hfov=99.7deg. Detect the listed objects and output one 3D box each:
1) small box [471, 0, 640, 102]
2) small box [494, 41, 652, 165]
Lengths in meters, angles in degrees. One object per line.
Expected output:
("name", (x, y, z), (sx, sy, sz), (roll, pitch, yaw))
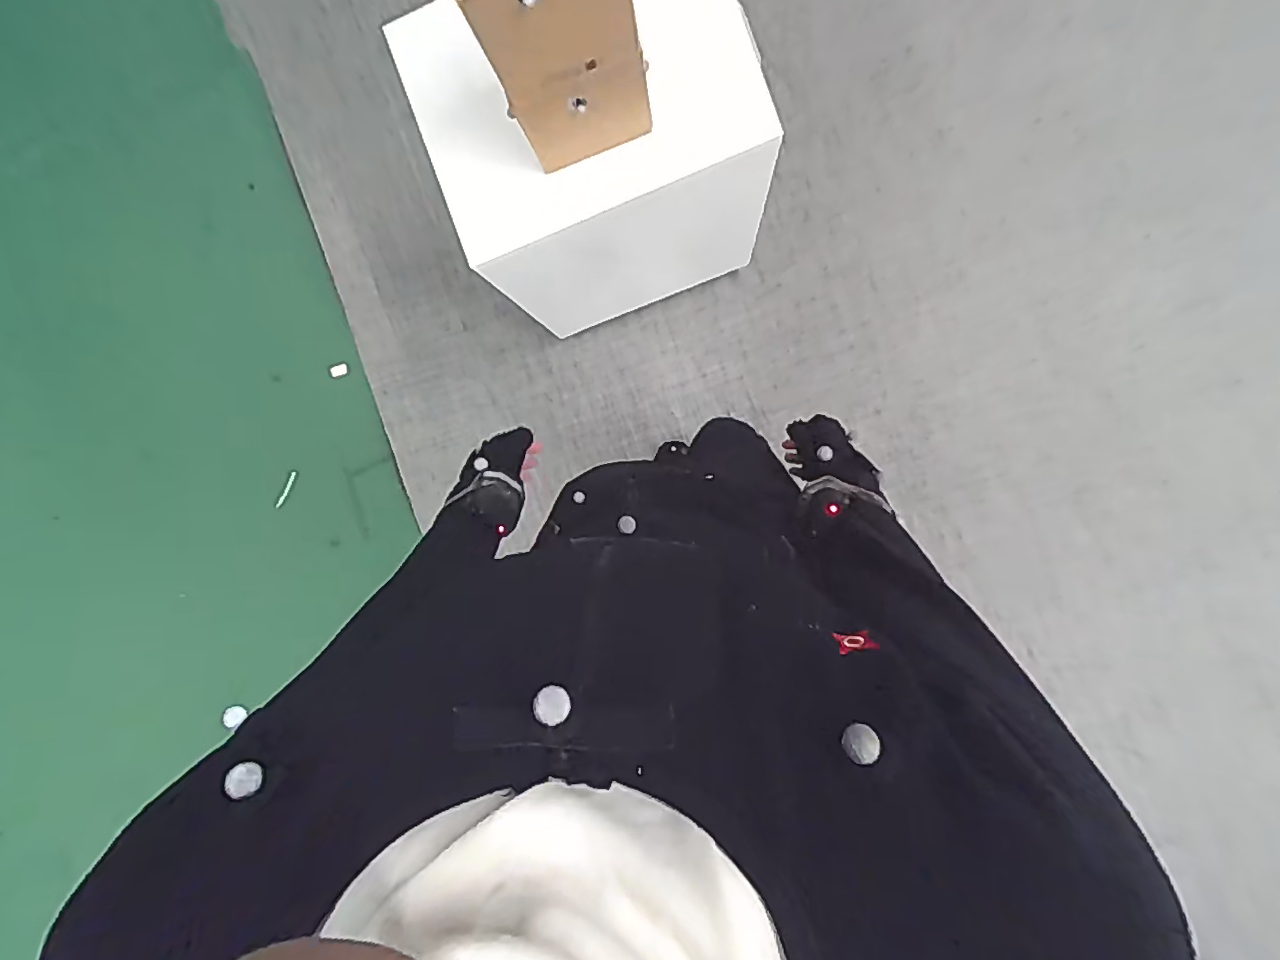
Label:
("small box", (-0.107, -0.561, 0.574), (0.168, 0.176, 0.179), (-20, 92, 6))
("small box", (-0.093, -0.569, 0.734), (0.179, 0.176, 0.168), (-18, 92, 6))
